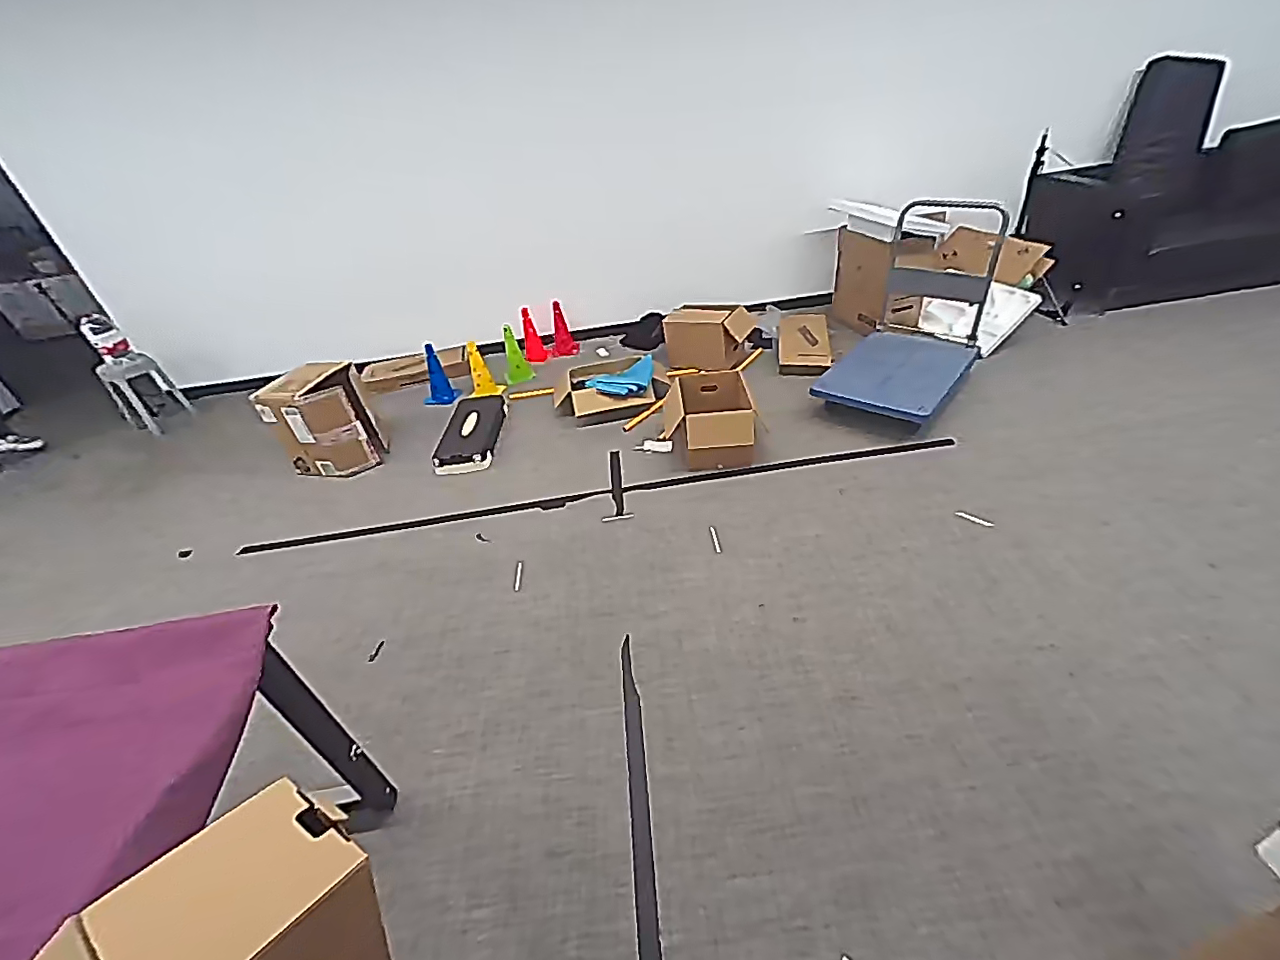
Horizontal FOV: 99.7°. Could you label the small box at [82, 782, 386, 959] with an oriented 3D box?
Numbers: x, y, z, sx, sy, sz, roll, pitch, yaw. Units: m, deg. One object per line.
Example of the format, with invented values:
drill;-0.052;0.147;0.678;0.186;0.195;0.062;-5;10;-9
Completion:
small box;-0.377;0.453;0.524;0.168;0.176;0.179;15;23;31
